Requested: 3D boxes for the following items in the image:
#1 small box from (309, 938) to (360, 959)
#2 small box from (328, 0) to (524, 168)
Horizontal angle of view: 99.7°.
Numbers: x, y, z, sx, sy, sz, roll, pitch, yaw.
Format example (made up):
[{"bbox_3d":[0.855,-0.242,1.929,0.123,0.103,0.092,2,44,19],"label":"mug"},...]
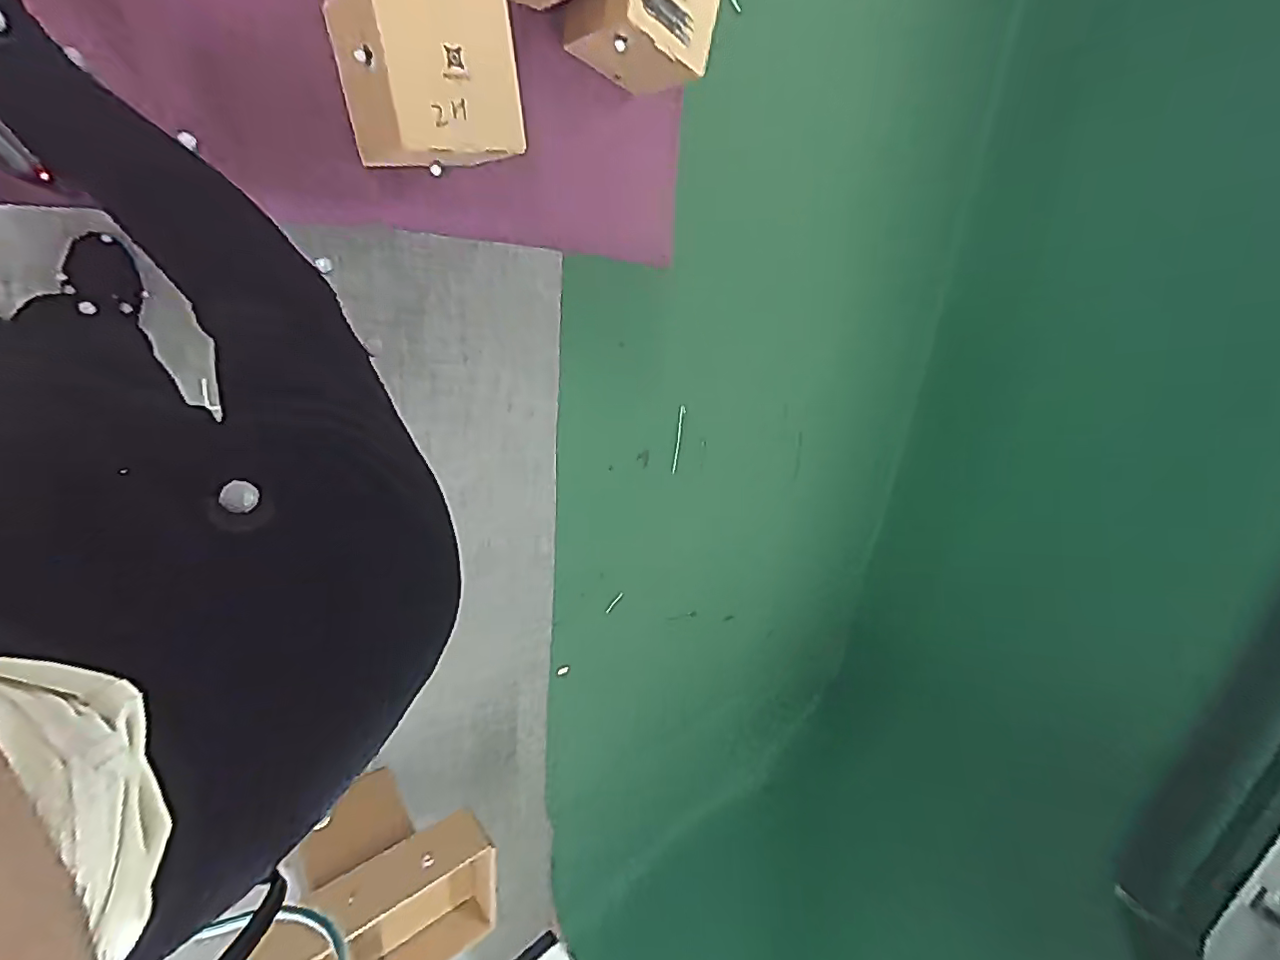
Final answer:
[{"bbox_3d":[-0.856,1.438,1.495,0.168,0.176,0.179,-11,114,-40],"label":"small box"},{"bbox_3d":[-0.273,-0.511,0.693,0.168,0.176,0.179,-24,123,-34],"label":"small box"}]
